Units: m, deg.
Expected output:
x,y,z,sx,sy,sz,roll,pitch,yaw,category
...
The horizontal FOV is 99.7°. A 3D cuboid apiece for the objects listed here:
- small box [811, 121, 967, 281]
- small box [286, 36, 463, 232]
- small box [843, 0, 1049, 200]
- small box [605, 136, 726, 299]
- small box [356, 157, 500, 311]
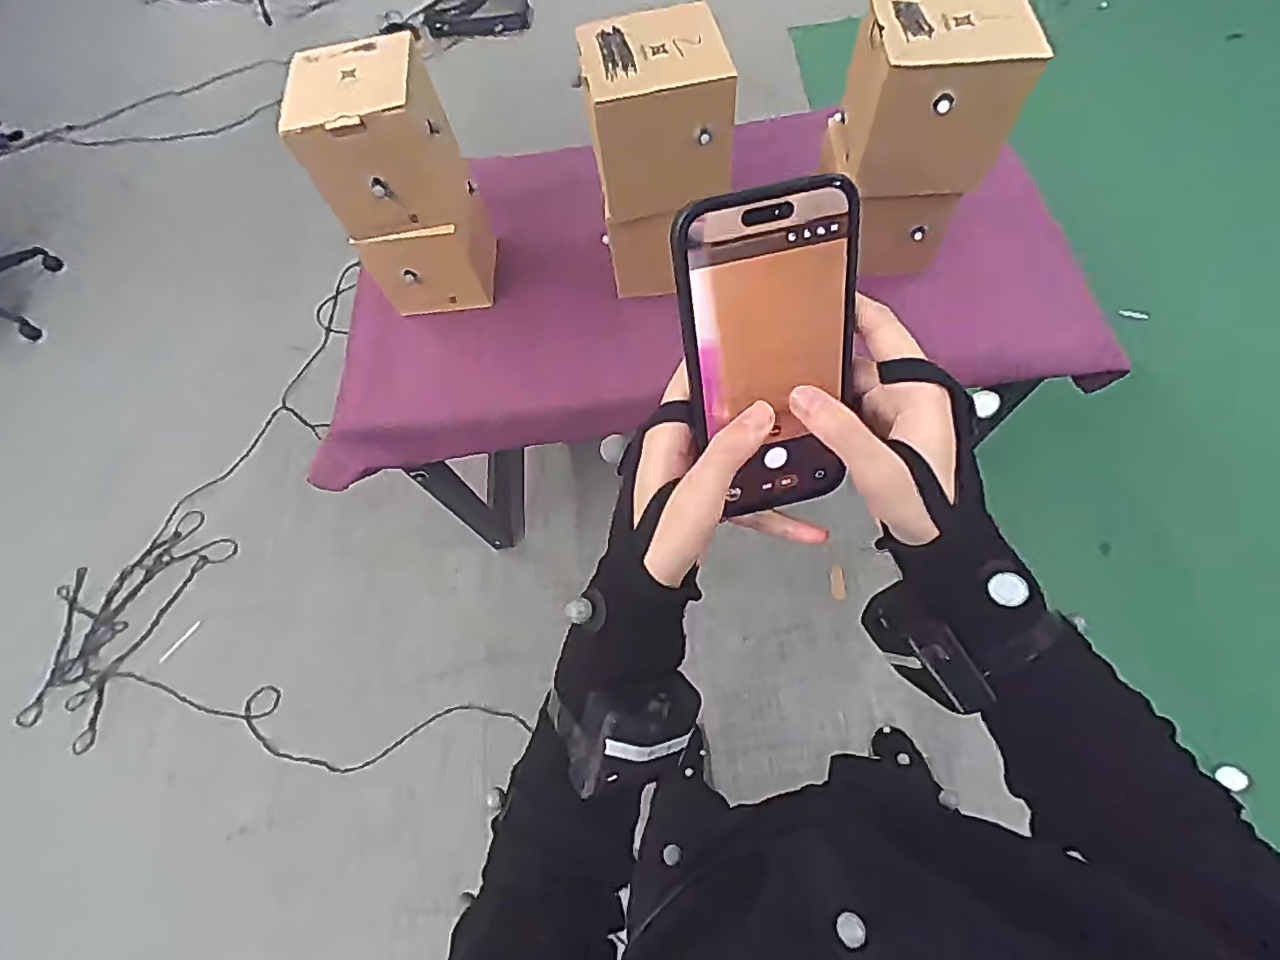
x,y,z,sx,sy,sz,roll,pitch,yaw,category
0.380,-0.436,0.858,0.179,0.176,0.168,1,66,7,small box
-0.365,-0.482,0.778,0.168,0.176,0.179,-9,66,1,small box
0.373,-0.490,0.703,0.179,0.176,0.168,1,66,6,small box
0.041,-0.421,0.886,0.179,0.176,0.168,-5,65,4,small box
-0.348,-0.408,0.923,0.168,0.176,0.179,-4,65,4,small box
